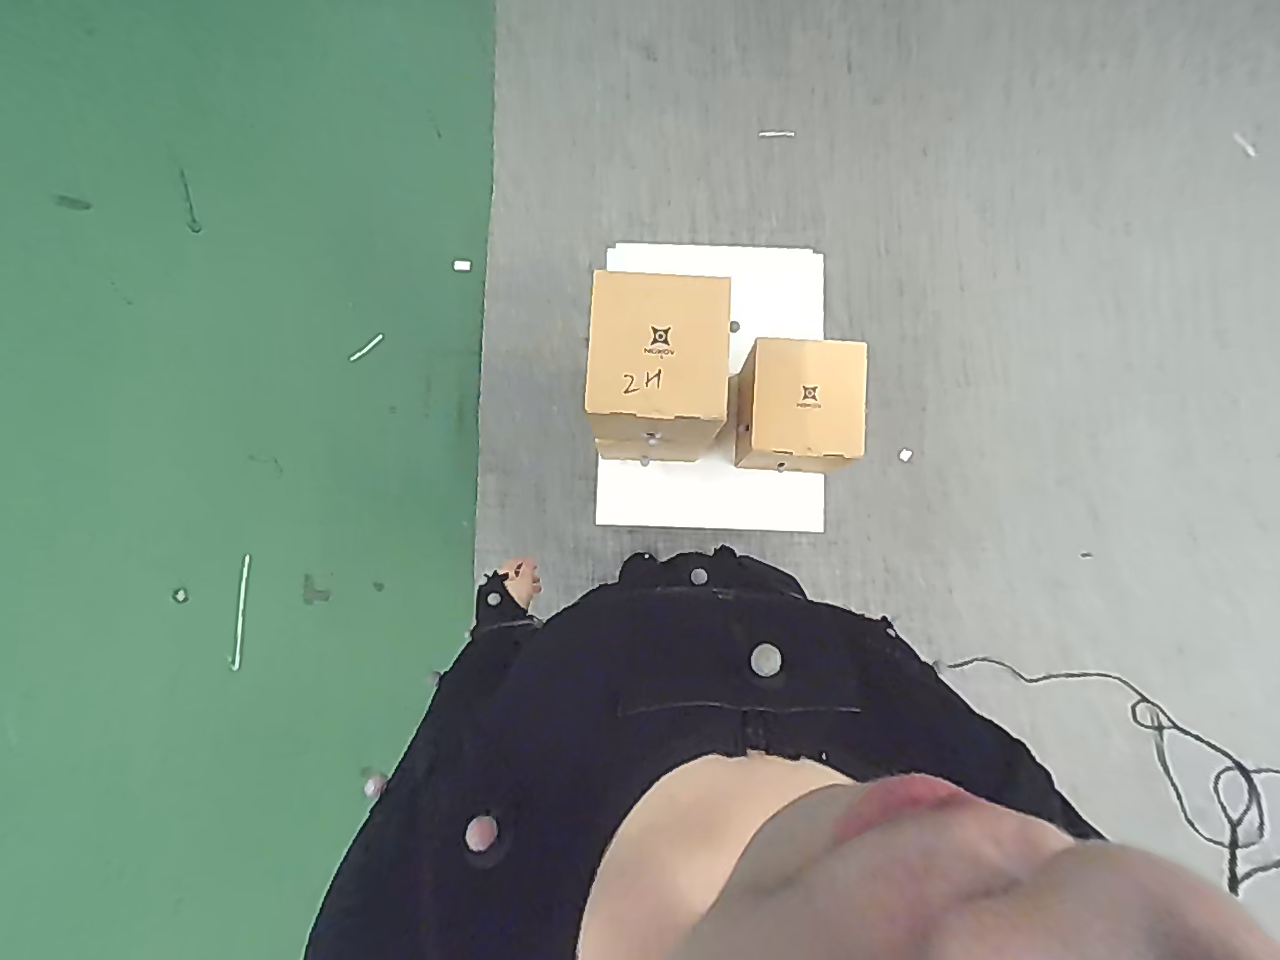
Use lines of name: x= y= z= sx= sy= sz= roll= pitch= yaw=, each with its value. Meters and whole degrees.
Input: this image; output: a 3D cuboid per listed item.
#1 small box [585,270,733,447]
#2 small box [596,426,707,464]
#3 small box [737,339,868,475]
small box: x=0.023 y=-0.149 z=0.710 sx=0.168 sy=0.176 sz=0.179 roll=4 pitch=83 yaw=1
small box: x=0.020 y=-0.126 z=0.873 sx=0.168 sy=0.176 sz=0.179 roll=2 pitch=84 yaw=1
small box: x=0.252 y=-0.110 z=0.869 sx=0.168 sy=0.176 sz=0.179 roll=3 pitch=84 yaw=2
